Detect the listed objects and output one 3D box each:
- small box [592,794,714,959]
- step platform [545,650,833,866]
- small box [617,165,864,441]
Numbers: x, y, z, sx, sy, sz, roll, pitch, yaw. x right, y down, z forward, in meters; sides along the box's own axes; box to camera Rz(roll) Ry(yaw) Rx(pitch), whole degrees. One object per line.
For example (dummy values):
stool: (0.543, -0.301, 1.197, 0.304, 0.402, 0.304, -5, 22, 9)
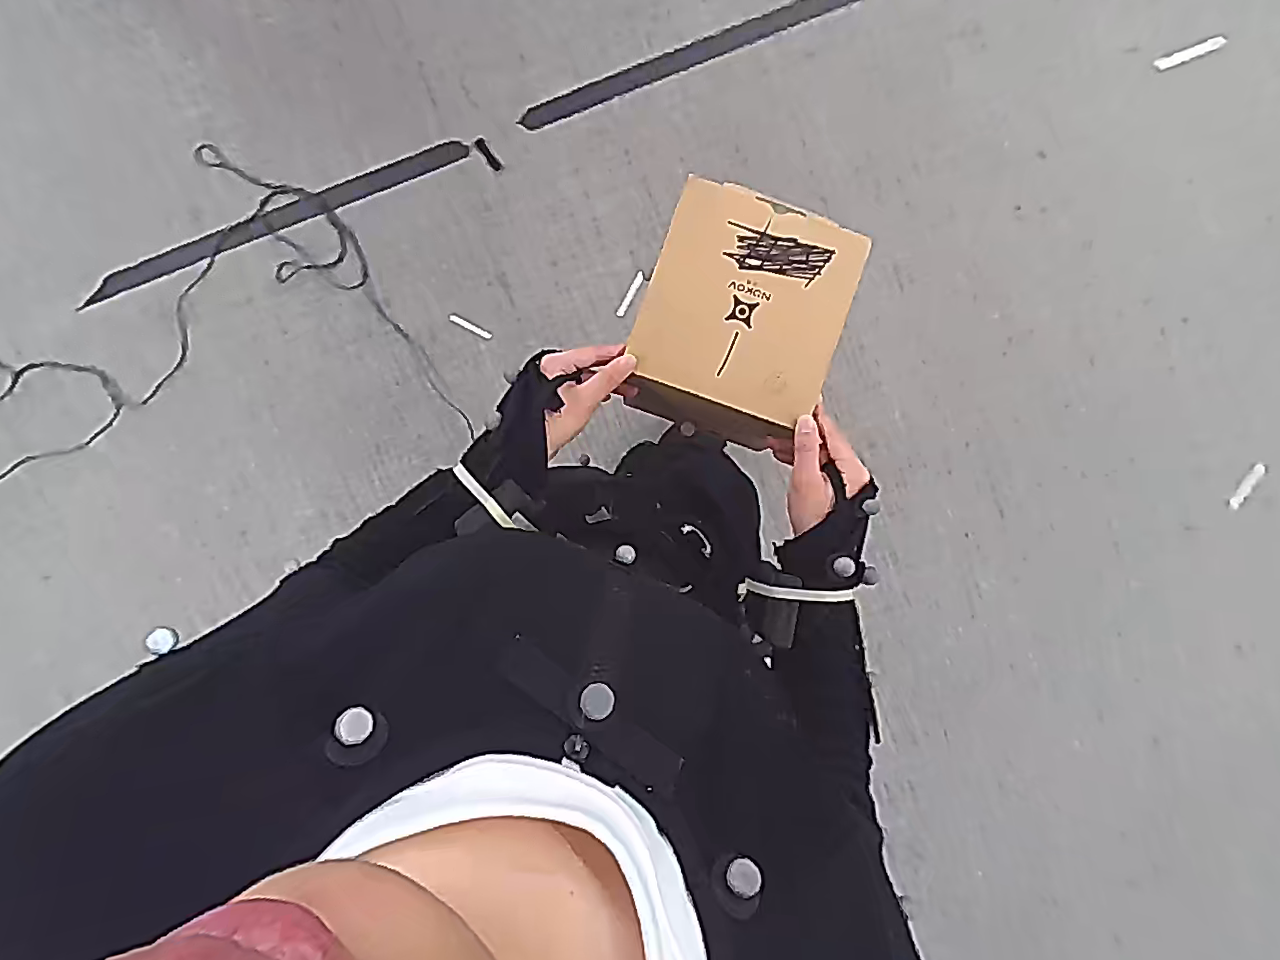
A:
small box: (0.027, 0.738, 1.009, 0.168, 0.176, 0.179, -22, 95, 4)
step platform: (0.114, 0.680, 1.339, 0.684, 0.204, 0.286, -21, 97, 2)
small box: (0.082, -0.152, 0.527, 0.168, 0.176, 0.179, 20, 87, 0)
